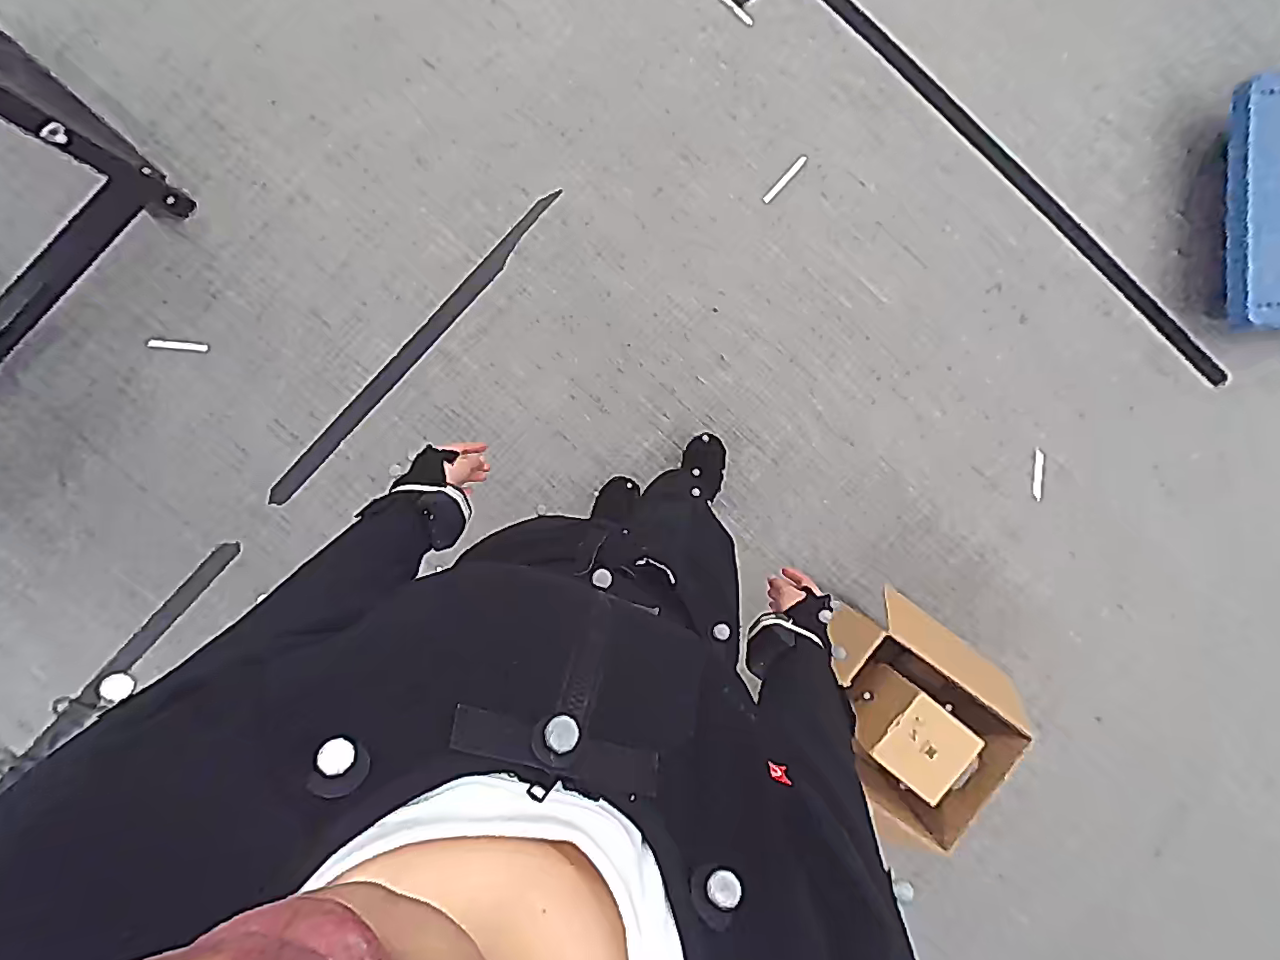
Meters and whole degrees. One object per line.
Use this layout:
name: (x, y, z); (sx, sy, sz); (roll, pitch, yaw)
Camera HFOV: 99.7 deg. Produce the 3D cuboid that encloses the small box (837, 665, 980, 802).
small box: (0.566, 0.533, 1.163); (0.179, 0.176, 0.168); (40, 89, -3)
